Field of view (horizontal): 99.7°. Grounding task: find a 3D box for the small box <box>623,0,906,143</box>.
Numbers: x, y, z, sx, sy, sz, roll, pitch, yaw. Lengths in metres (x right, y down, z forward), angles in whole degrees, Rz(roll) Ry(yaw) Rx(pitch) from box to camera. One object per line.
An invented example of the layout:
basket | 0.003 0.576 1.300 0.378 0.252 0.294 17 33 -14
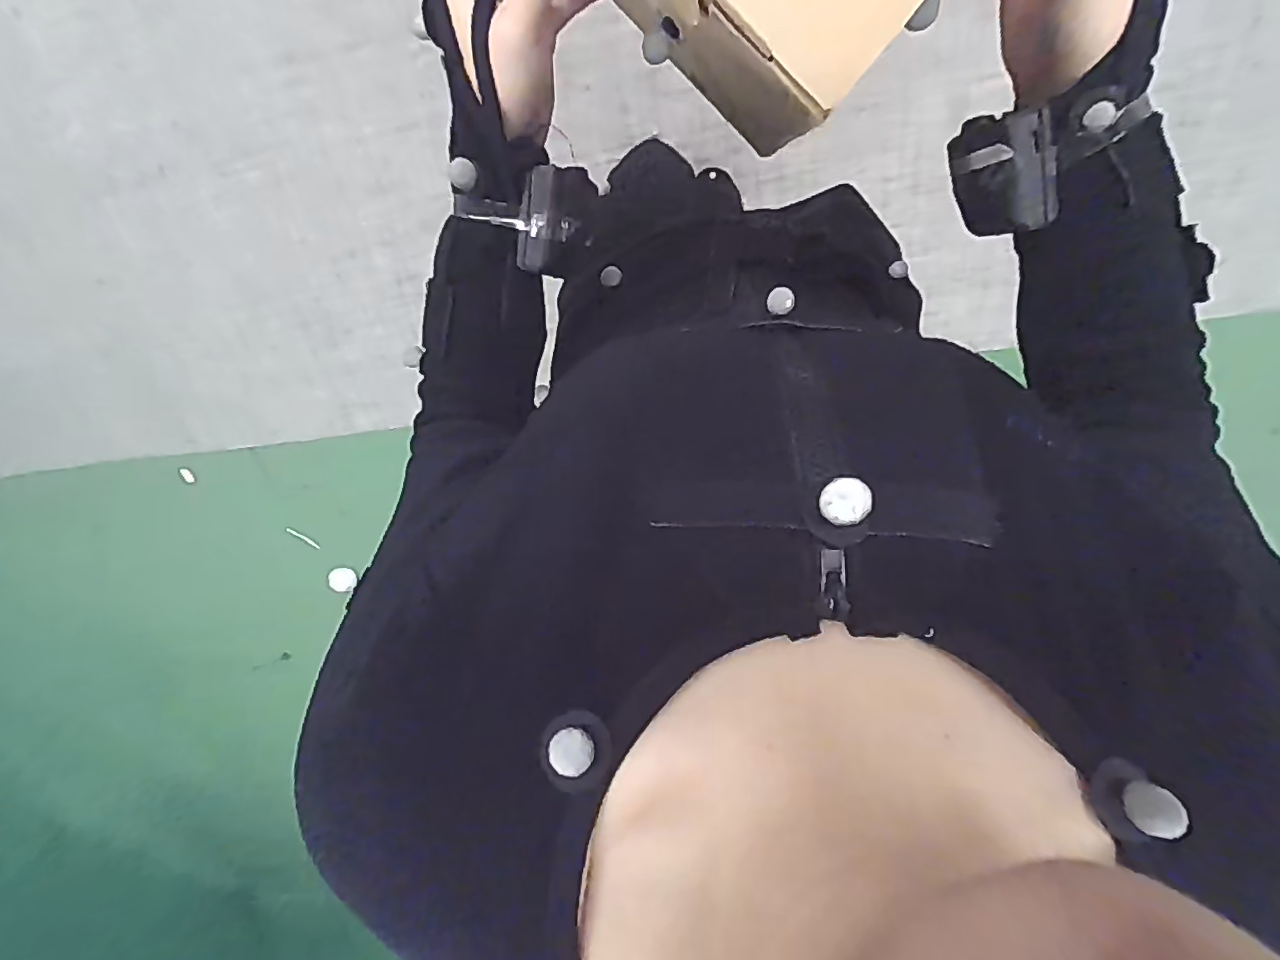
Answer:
small box | 0.070 -0.287 0.240 0.168 0.176 0.179 38 114 -13
